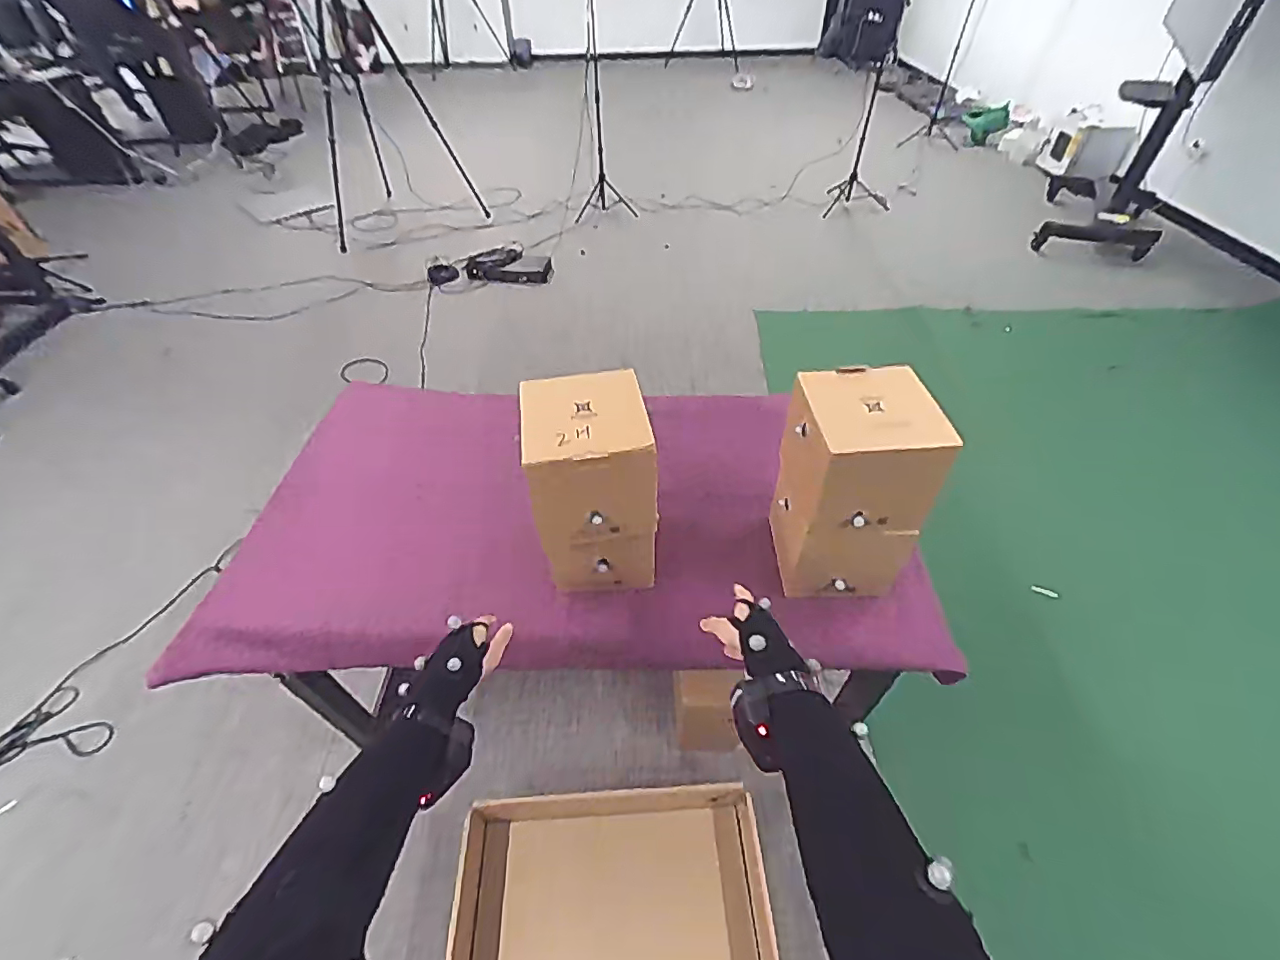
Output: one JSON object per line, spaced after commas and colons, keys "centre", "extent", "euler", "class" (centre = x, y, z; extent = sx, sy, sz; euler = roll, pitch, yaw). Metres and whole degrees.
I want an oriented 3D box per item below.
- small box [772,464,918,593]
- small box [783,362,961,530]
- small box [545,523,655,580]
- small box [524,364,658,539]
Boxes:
{"centre": [0.320, 0.066, 0.889], "extent": [0.168, 0.176, 0.179], "euler": [0, 47, 2], "class": "small box"}
{"centre": [0.311, -0.049, 0.773], "extent": [0.168, 0.176, 0.179], "euler": [-3, 46, 0], "class": "small box"}
{"centre": [-0.062, 0.057, 0.907], "extent": [0.168, 0.176, 0.179], "euler": [-3, 46, -2], "class": "small box"}
{"centre": [-0.070, -0.041, 0.772], "extent": [0.168, 0.176, 0.179], "euler": [-8, 46, -5], "class": "small box"}
